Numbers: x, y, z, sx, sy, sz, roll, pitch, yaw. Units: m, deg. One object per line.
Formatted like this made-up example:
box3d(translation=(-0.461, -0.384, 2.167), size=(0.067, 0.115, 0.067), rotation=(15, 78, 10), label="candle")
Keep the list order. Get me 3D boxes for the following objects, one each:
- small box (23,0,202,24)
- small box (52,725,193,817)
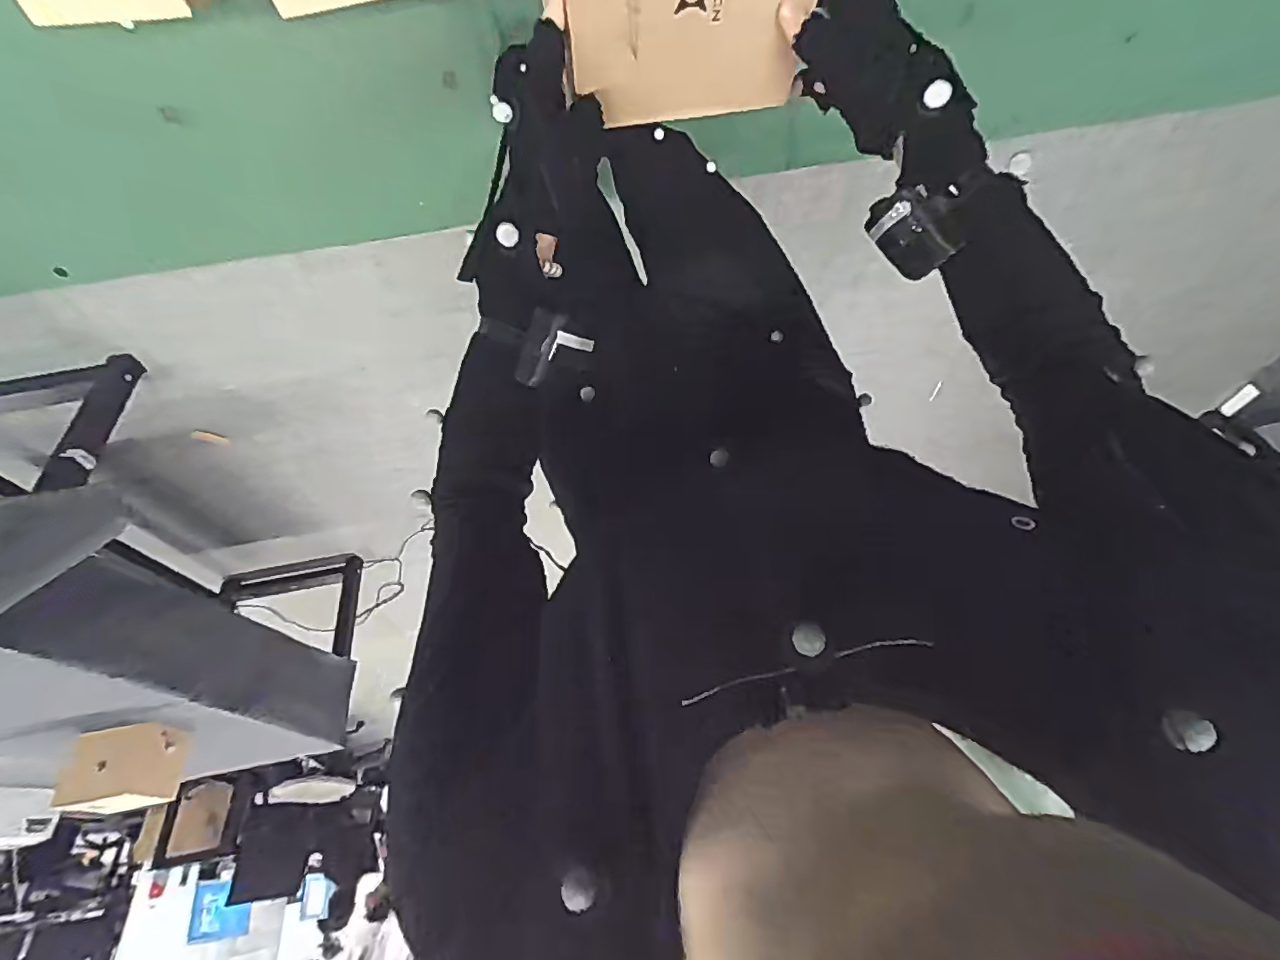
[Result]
box3d(translation=(-0.616, -0.645, 0.610), size=(0.179, 0.176, 0.168), rotation=(-7, 145, -4), label="small box")
box3d(translation=(-1.302, 0.741, 1.378), size=(0.179, 0.176, 0.168), rotation=(-10, 145, -2), label="small box")
